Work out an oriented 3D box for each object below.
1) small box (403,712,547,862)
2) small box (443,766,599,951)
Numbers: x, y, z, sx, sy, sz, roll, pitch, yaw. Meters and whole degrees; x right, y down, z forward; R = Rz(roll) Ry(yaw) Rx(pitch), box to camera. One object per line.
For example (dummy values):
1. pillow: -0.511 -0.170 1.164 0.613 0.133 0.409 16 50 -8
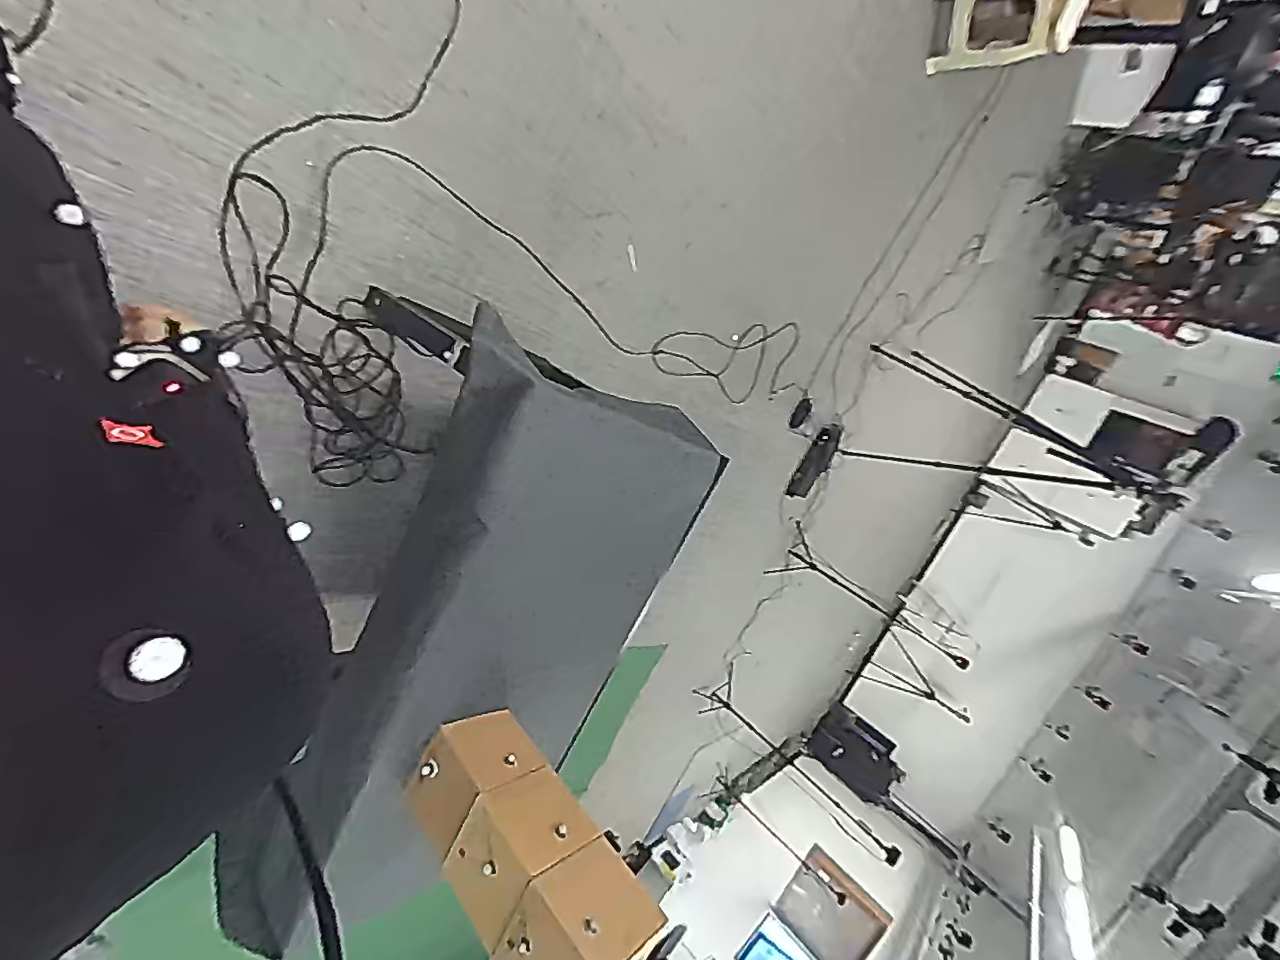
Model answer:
1. small box: -0.322 0.579 1.052 0.179 0.176 0.168 16 104 -53
2. small box: -0.213 0.649 0.953 0.179 0.176 0.168 13 106 -55
